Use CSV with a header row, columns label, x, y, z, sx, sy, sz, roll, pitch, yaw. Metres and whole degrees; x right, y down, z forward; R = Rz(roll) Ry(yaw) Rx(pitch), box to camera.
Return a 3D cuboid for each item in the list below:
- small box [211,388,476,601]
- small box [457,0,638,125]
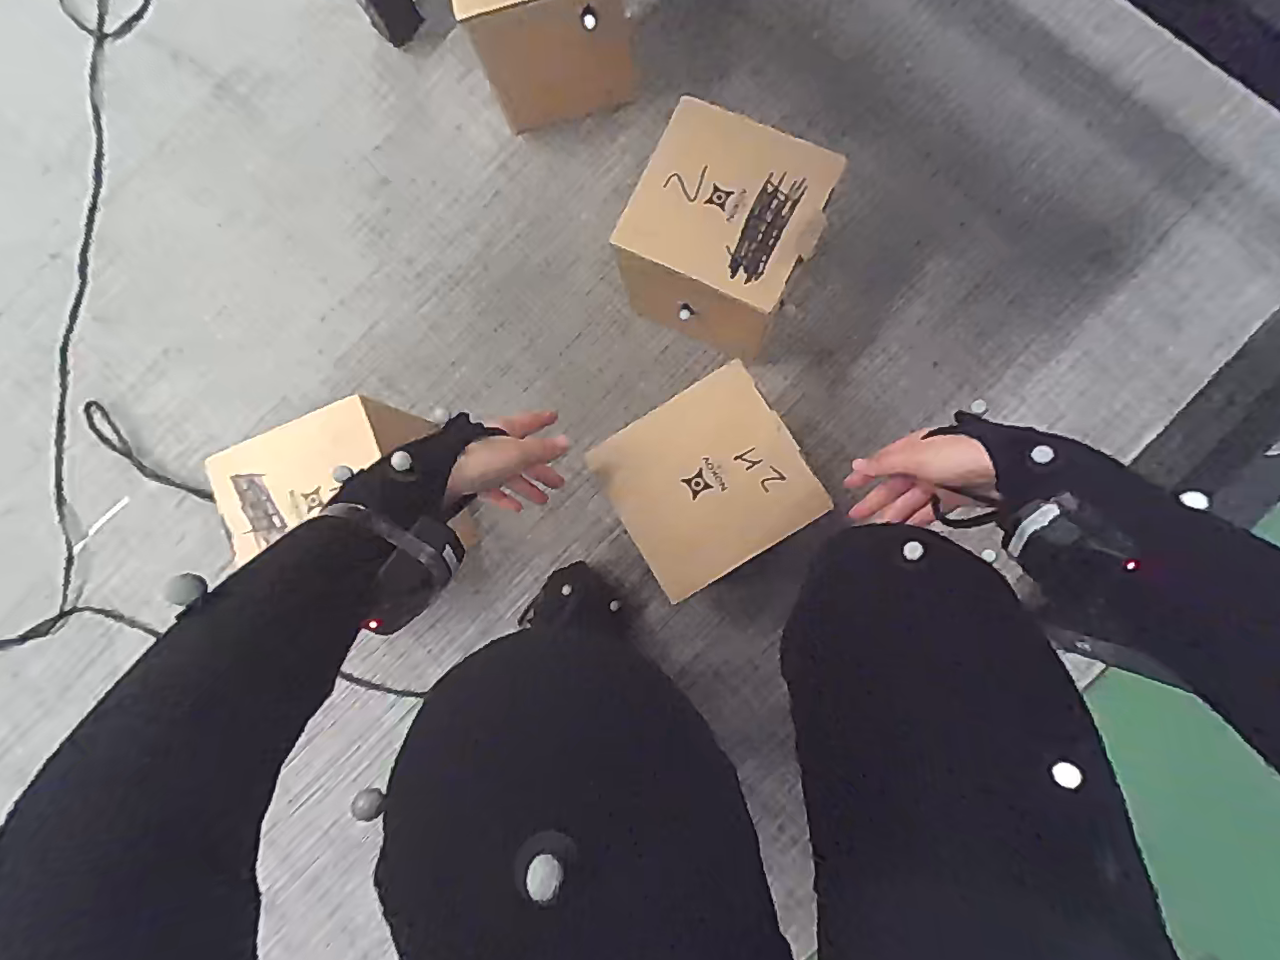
label,x,y,z,sx,sy,sz,roll,pitch,yaw
small box,-0.315,0.021,0.607,0.179,0.176,0.168,-22,84,3
small box,-0.109,-0.562,0.636,0.179,0.176,0.168,-13,84,4
